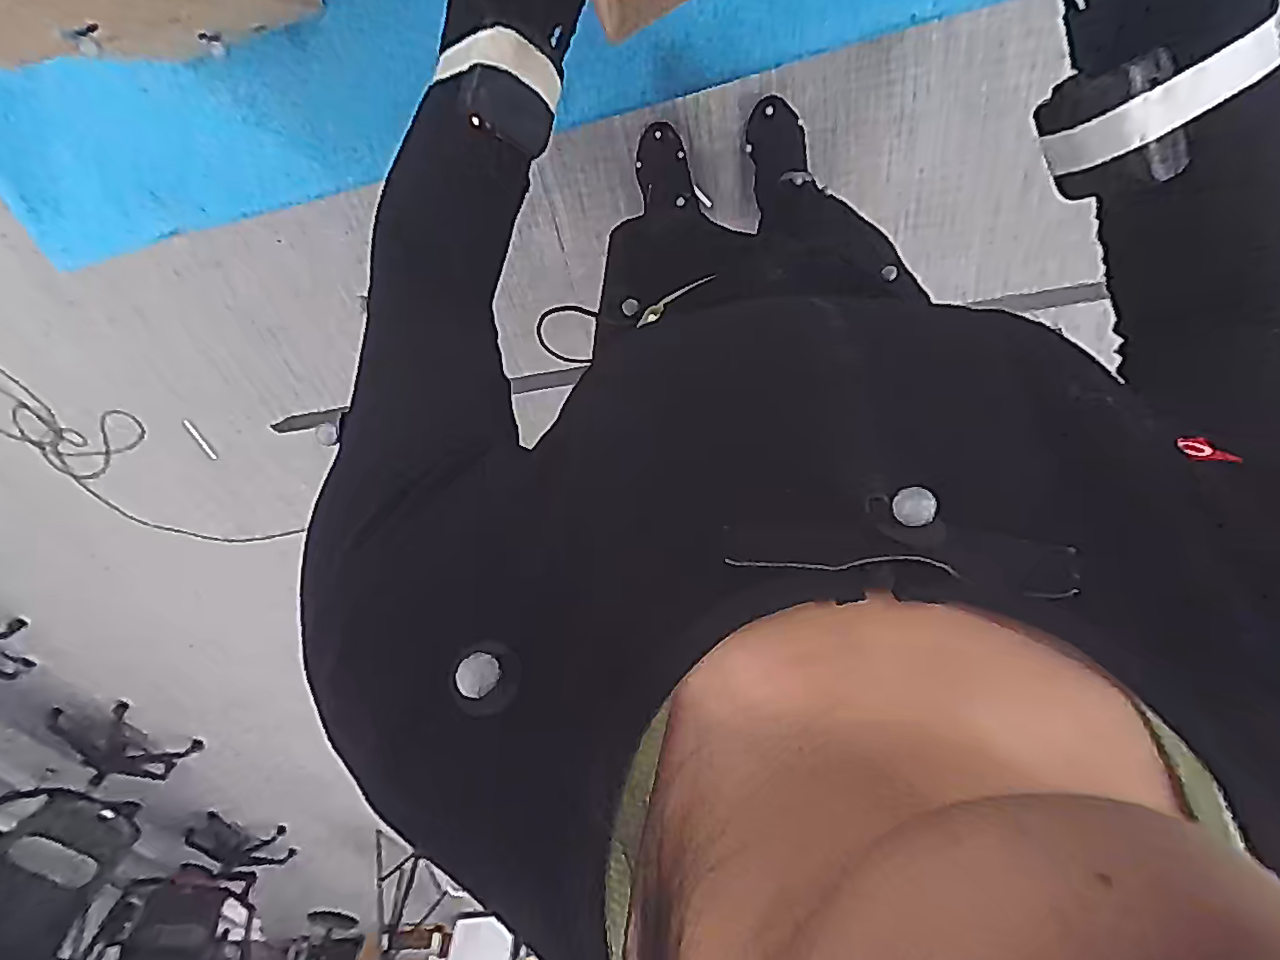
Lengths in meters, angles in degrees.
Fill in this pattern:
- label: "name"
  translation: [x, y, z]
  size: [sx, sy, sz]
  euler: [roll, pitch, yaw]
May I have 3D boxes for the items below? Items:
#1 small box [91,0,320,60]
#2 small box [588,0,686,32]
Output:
- label: "small box"
  translation: [-0.390, -0.435, 0.402]
  size: [0.168, 0.176, 0.179]
  euler: [-6, 128, 9]
- label: "small box"
  translation: [0.023, -0.360, 0.262]
  size: [0.179, 0.176, 0.168]
  euler: [-20, 121, 12]
